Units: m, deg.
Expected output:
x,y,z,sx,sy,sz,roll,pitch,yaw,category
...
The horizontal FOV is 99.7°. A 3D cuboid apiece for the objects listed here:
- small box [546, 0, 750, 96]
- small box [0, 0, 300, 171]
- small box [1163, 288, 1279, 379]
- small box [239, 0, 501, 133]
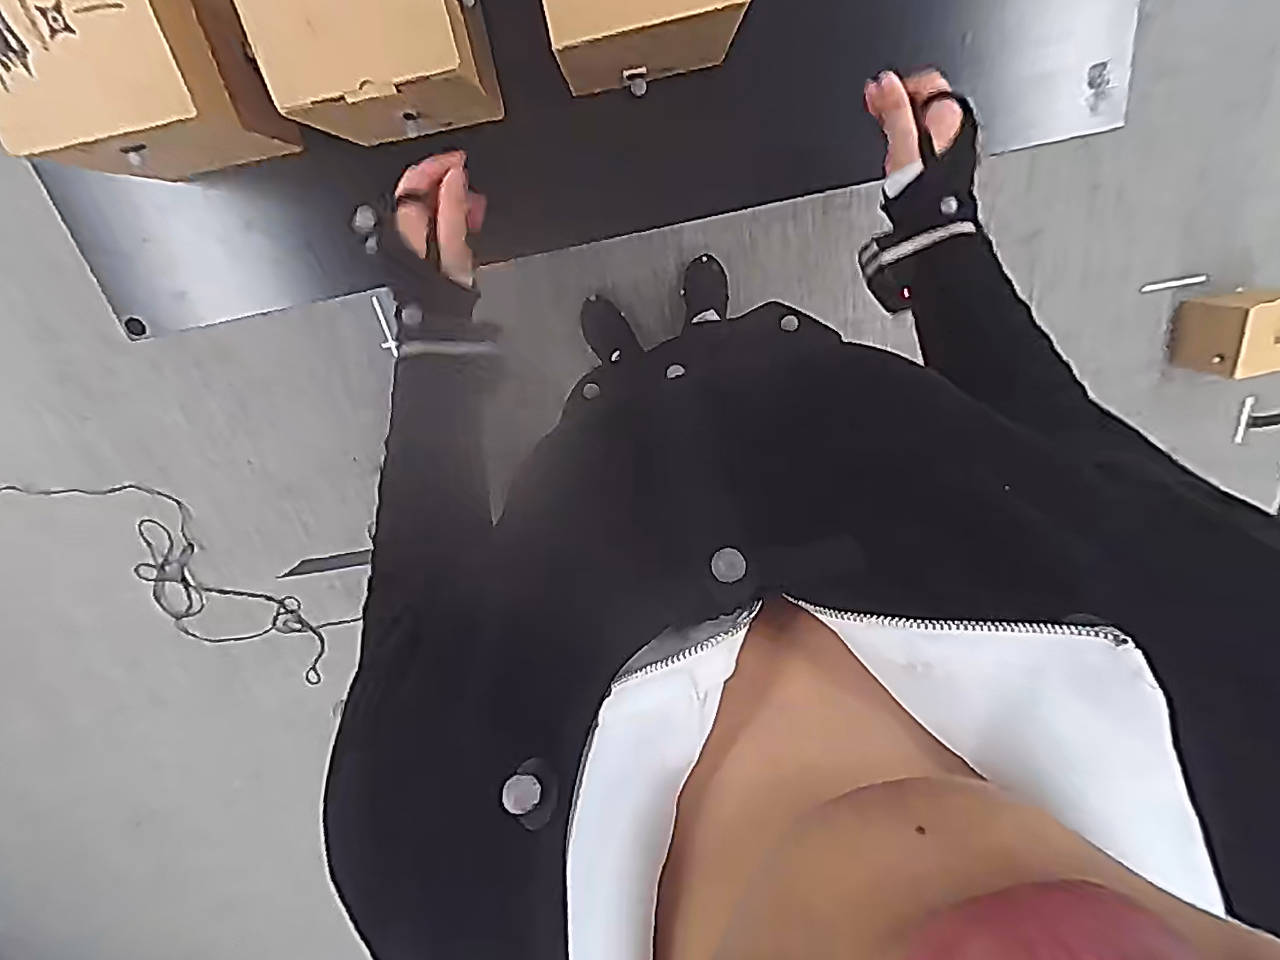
x,y,z,sx,sy,sz,roll,pitch,yaw,category
-0.007,-0.479,0.482,0.168,0.176,0.179,-11,114,5,small box
-0.470,-0.402,0.504,0.179,0.176,0.168,-11,114,3,small box
1.465,-0.368,1.345,0.168,0.176,0.179,-11,113,4,small box
-0.241,-0.436,0.494,0.168,0.176,0.179,-9,114,3,small box
